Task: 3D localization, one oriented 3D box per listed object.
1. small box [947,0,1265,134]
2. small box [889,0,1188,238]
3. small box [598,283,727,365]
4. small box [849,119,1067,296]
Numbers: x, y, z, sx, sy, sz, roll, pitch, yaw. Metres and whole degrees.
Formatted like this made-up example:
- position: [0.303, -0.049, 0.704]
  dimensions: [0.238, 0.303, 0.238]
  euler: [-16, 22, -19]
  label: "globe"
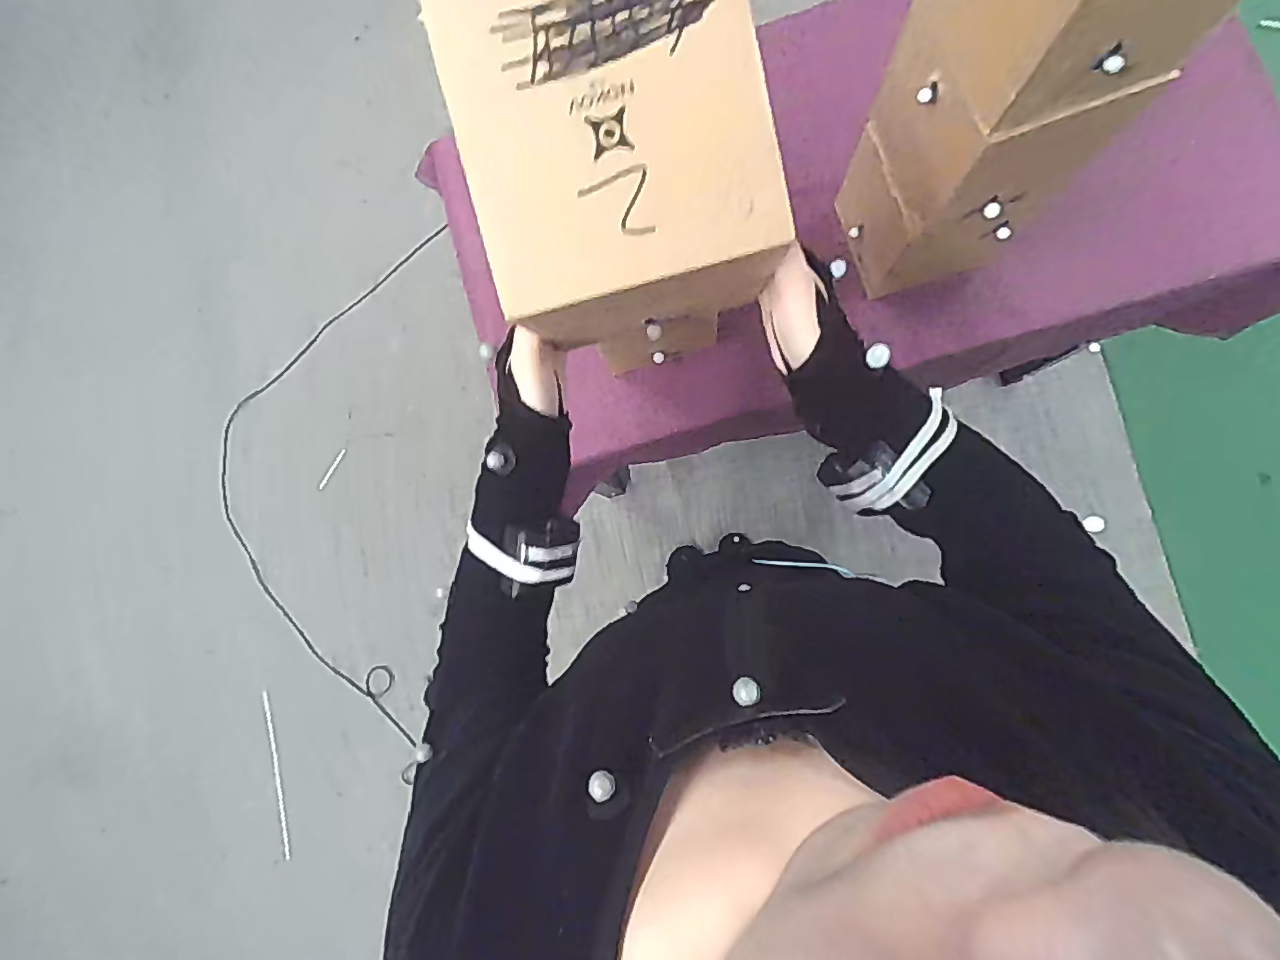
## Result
- position: [0.363, -0.415, 0.406]
  dimensions: [0.168, 0.176, 0.179]
  euler: [-18, 83, 5]
  label: "small box"
- position: [0.387, -0.393, 0.565]
  dimensions: [0.168, 0.176, 0.179]
  euler: [-15, 83, 6]
  label: "small box"
- position: [0.020, -0.284, 0.762]
  dimensions: [0.168, 0.176, 0.179]
  euler: [-13, 84, 5]
  label: "small box"
- position: [0.407, -0.375, 0.726]
  dimensions: [0.179, 0.176, 0.168]
  euler: [-14, 82, 5]
  label: "small box"
